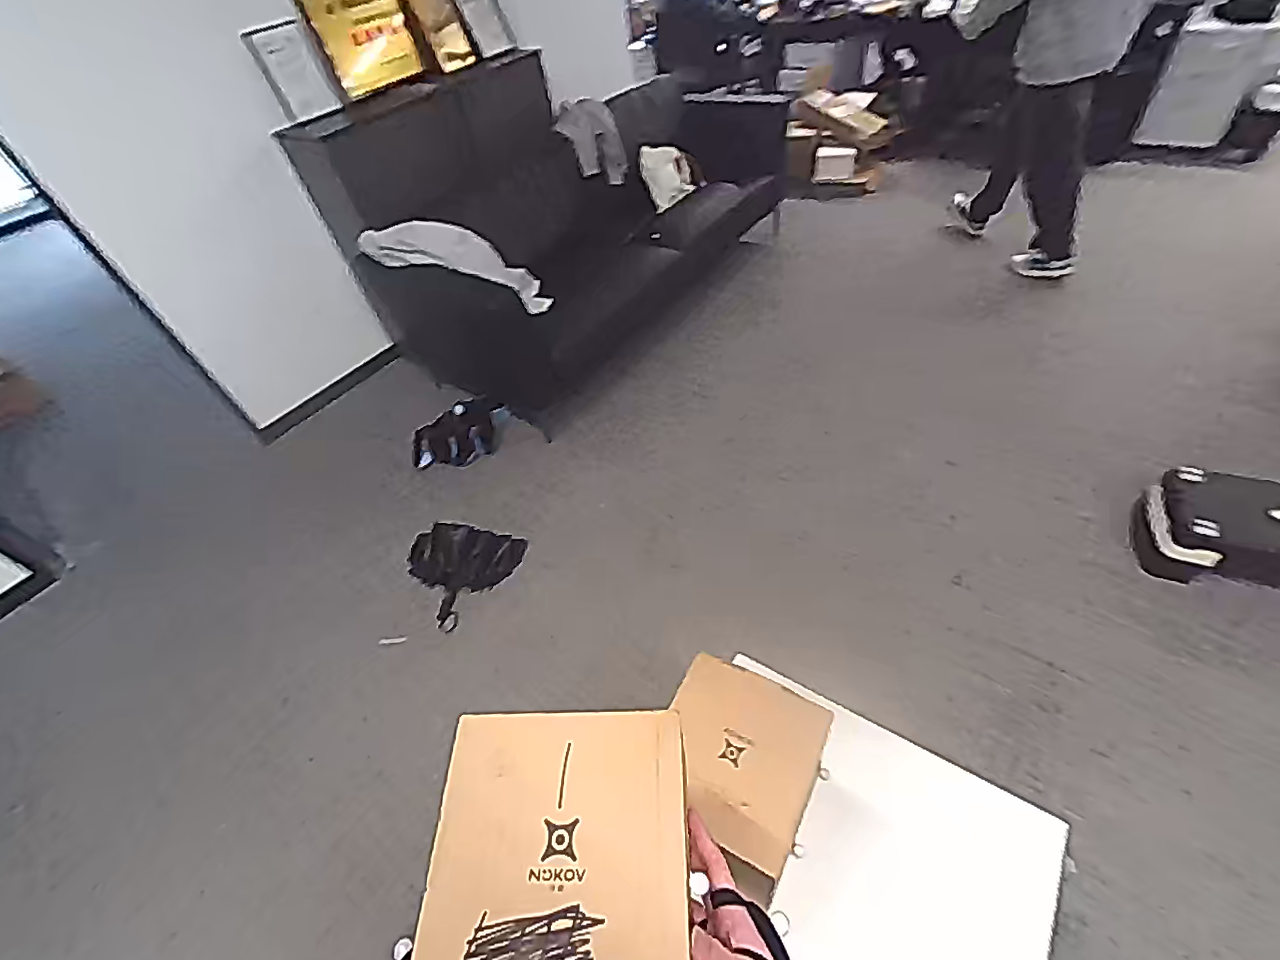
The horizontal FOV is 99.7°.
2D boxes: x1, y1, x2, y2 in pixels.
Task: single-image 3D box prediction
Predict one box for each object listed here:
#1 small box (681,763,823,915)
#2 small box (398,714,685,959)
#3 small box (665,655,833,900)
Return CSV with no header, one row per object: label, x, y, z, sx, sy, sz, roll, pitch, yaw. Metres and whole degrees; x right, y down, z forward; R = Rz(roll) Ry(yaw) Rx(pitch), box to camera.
small box,0.136,0.457,0.754,0.168,0.176,0.179,20,53,27
small box,-0.053,0.291,0.406,0.168,0.176,0.179,-3,50,4
small box,0.111,0.347,0.636,0.168,0.176,0.179,17,53,27
